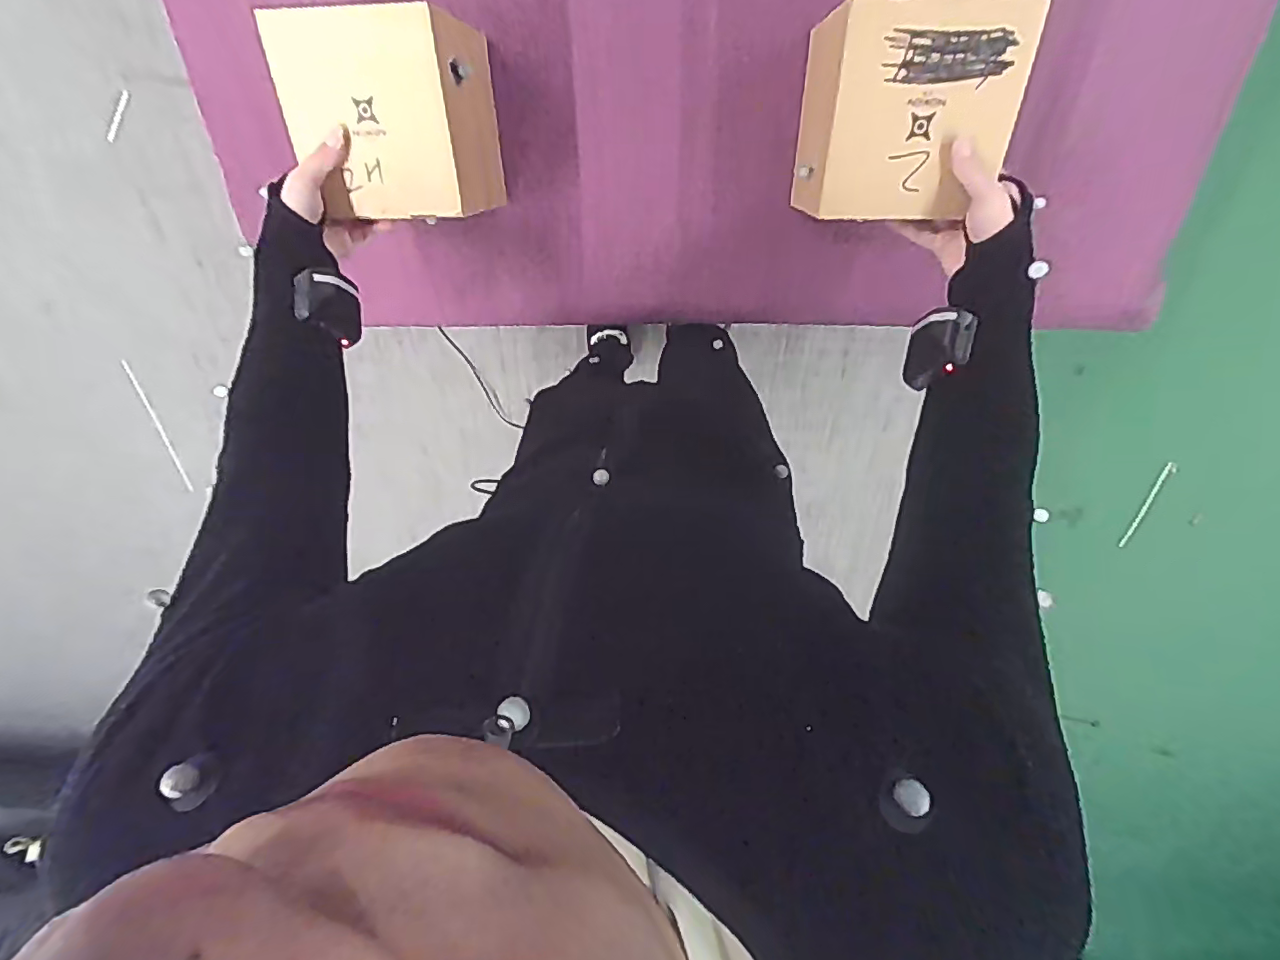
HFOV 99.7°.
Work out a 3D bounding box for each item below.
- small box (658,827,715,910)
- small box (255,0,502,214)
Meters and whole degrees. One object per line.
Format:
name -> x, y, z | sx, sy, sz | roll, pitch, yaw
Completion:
small box -> 0.161, 1.339, 1.867 | 0.168, 0.176, 0.179 | 10, 121, 0
small box -> -0.265, -0.398, 0.598 | 0.168, 0.176, 0.179 | 1, 121, 4
